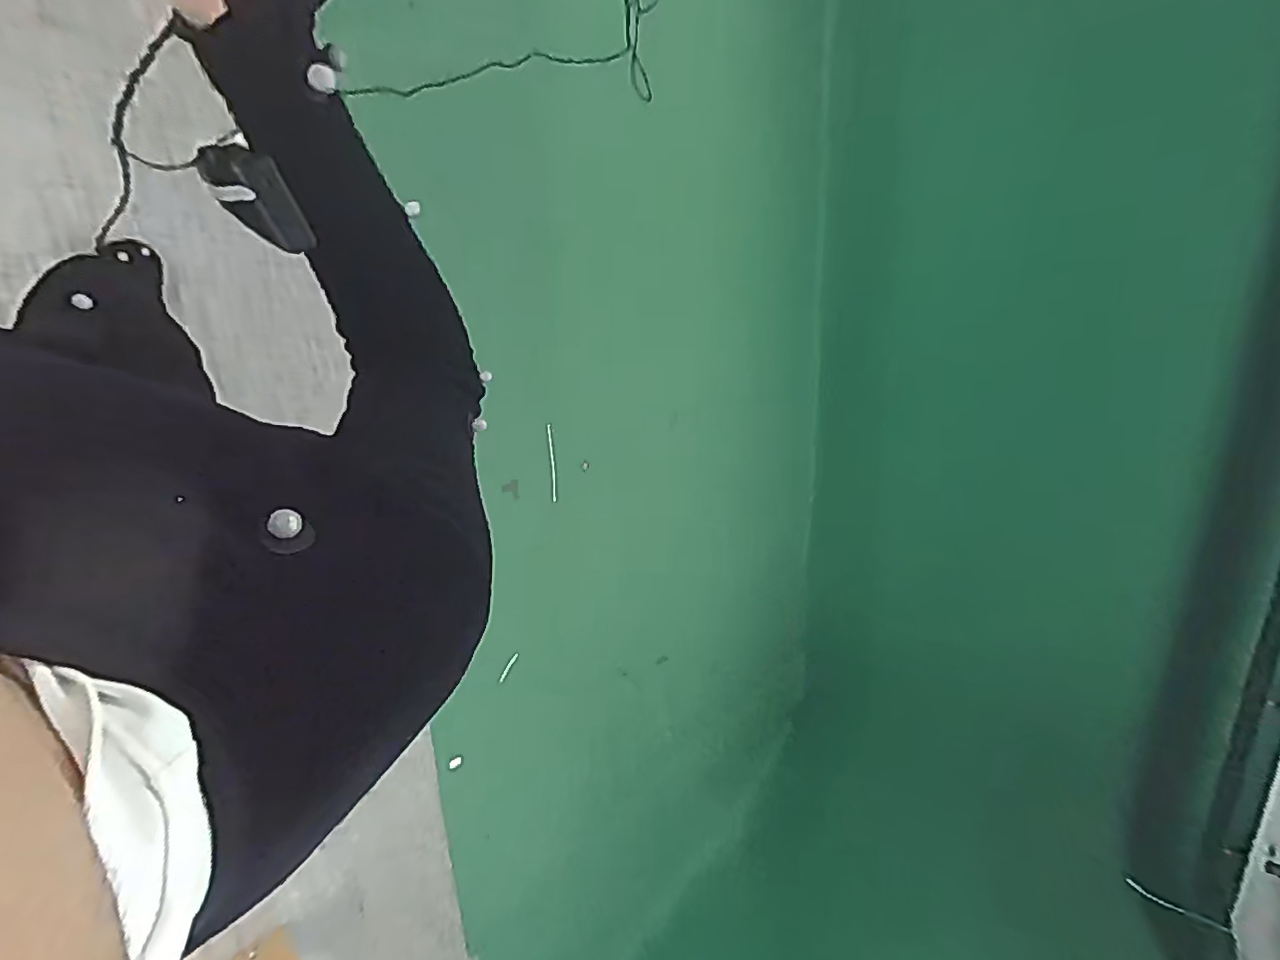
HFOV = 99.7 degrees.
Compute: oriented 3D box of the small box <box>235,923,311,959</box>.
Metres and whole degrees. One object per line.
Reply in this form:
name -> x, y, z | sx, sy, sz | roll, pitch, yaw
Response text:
small box -> -1.046, 1.432, 1.534 | 0.179, 0.176, 0.168 | -14, 109, -46
